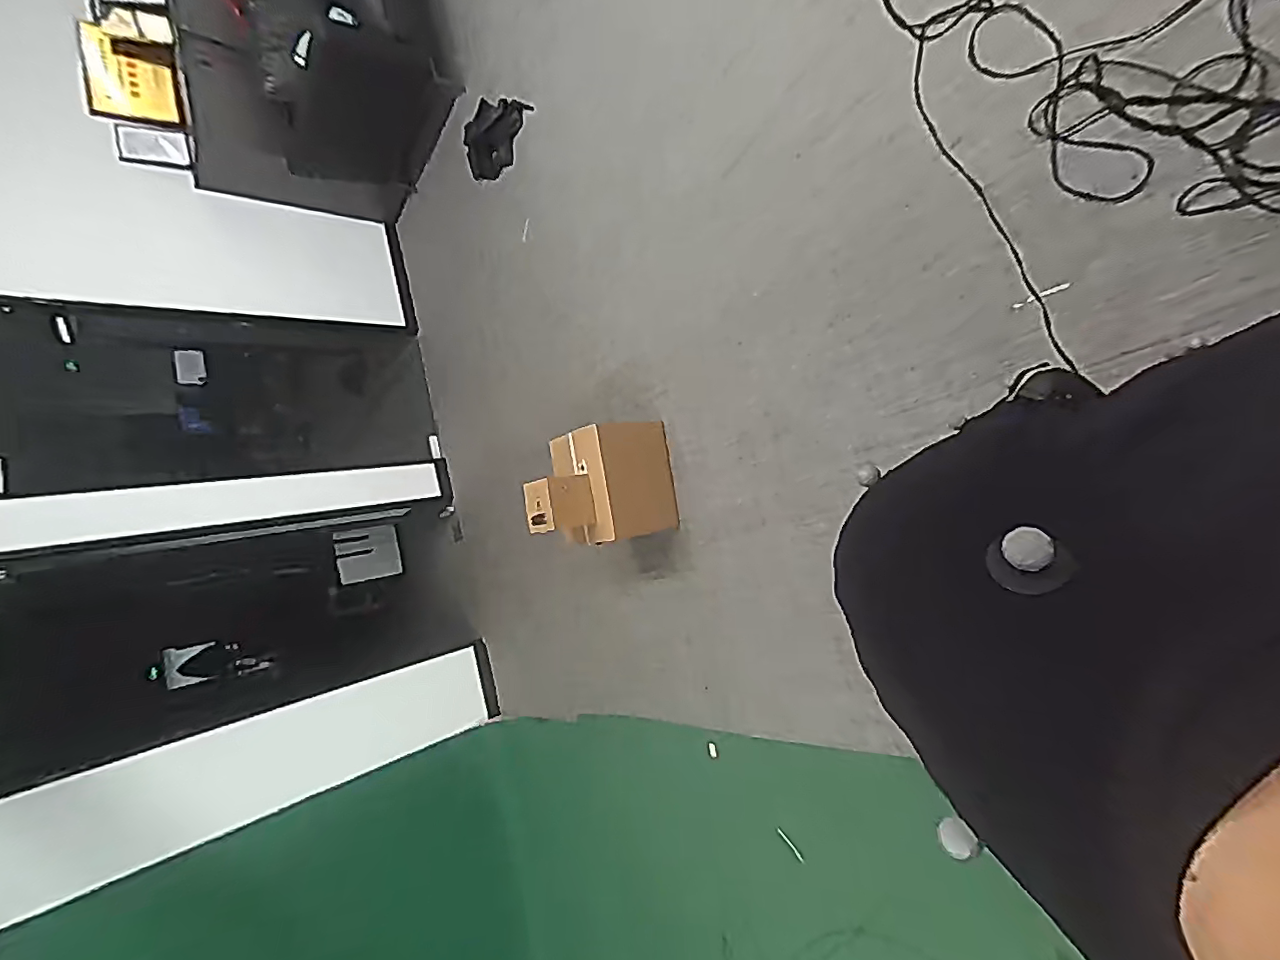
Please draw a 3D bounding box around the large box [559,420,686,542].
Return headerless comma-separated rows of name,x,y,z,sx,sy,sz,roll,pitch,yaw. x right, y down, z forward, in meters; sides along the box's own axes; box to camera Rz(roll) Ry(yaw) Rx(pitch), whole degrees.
large box,-0.066,0.006,2.016,0.320,0.320,0.408,-13,84,49
